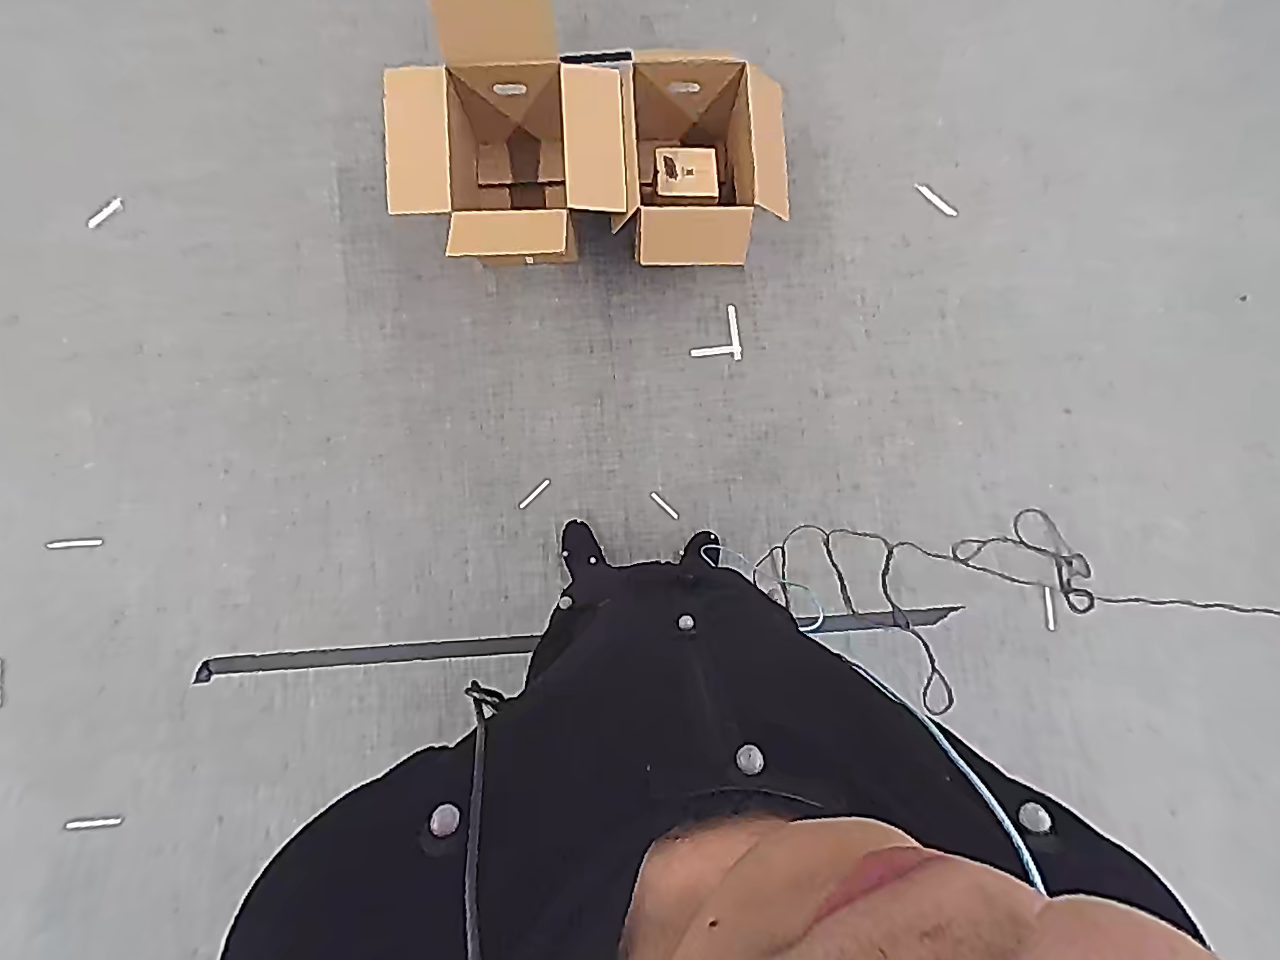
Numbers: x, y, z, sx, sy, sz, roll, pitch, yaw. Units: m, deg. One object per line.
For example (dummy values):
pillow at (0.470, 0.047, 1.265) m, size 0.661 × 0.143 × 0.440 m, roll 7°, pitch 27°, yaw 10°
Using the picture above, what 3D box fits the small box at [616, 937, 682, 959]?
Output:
small box at (0.027, 1.317, 1.378) m, size 0.179 × 0.176 × 0.168 m, roll -6°, pitch 87°, yaw -1°

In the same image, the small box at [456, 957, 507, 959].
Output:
small box at (-0.416, 1.354, 1.365) m, size 0.168 × 0.176 × 0.179 m, roll -3°, pitch 88°, yaw -1°
